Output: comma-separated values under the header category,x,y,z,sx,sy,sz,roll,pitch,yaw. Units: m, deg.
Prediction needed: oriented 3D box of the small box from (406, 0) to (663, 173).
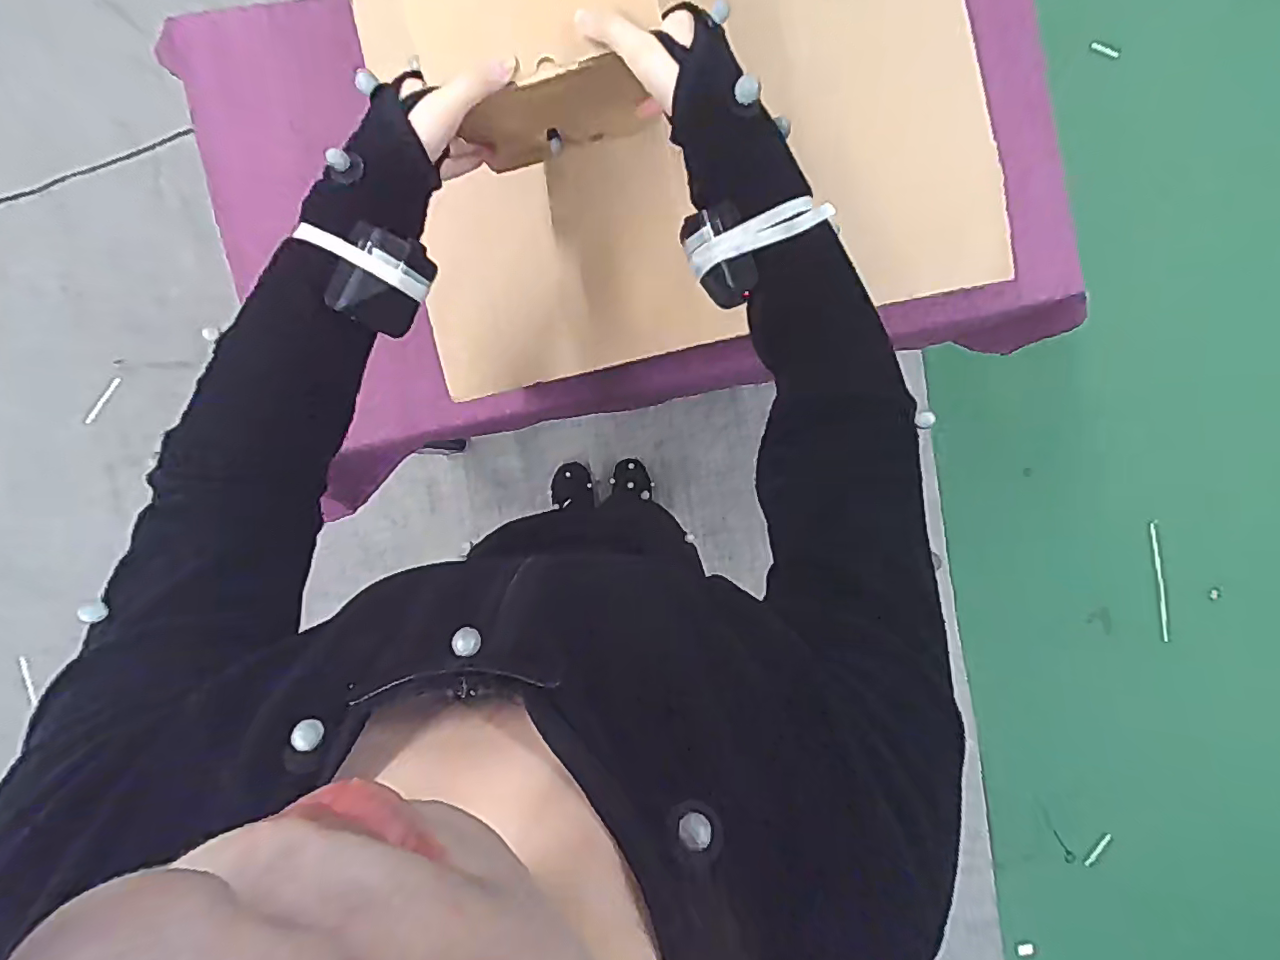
category,x,y,z,sx,sy,sz,roll,pitch,yaw
small box,-0.082,-0.378,0.431,0.168,0.176,0.179,-13,106,4
